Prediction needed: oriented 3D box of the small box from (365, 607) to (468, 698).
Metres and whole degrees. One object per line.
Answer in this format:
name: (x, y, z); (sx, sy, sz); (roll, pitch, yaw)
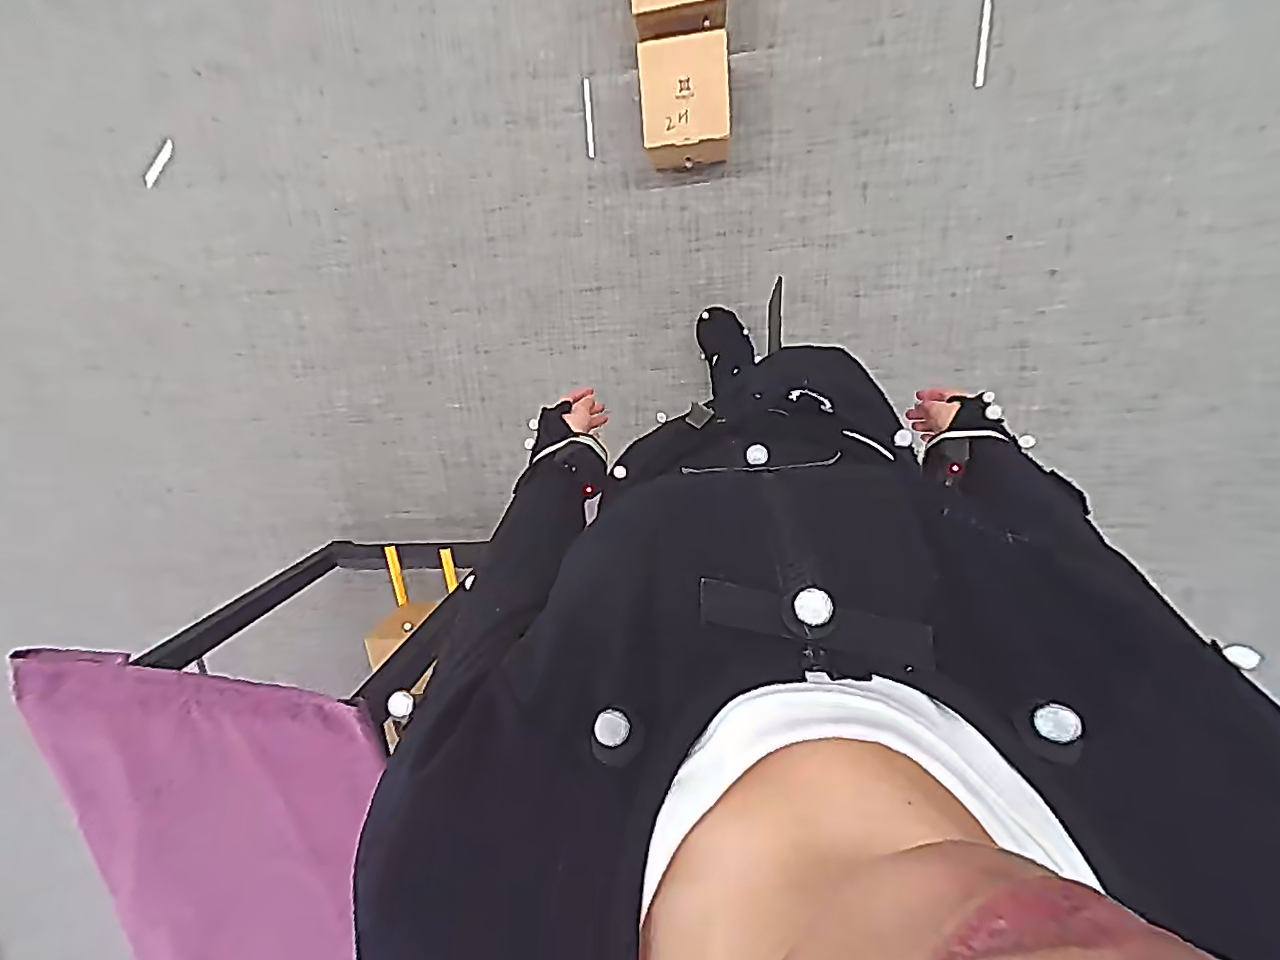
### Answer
small box: (-0.573, 0.443, 1.407); (0.179, 0.176, 0.168); (-3, 107, 6)
